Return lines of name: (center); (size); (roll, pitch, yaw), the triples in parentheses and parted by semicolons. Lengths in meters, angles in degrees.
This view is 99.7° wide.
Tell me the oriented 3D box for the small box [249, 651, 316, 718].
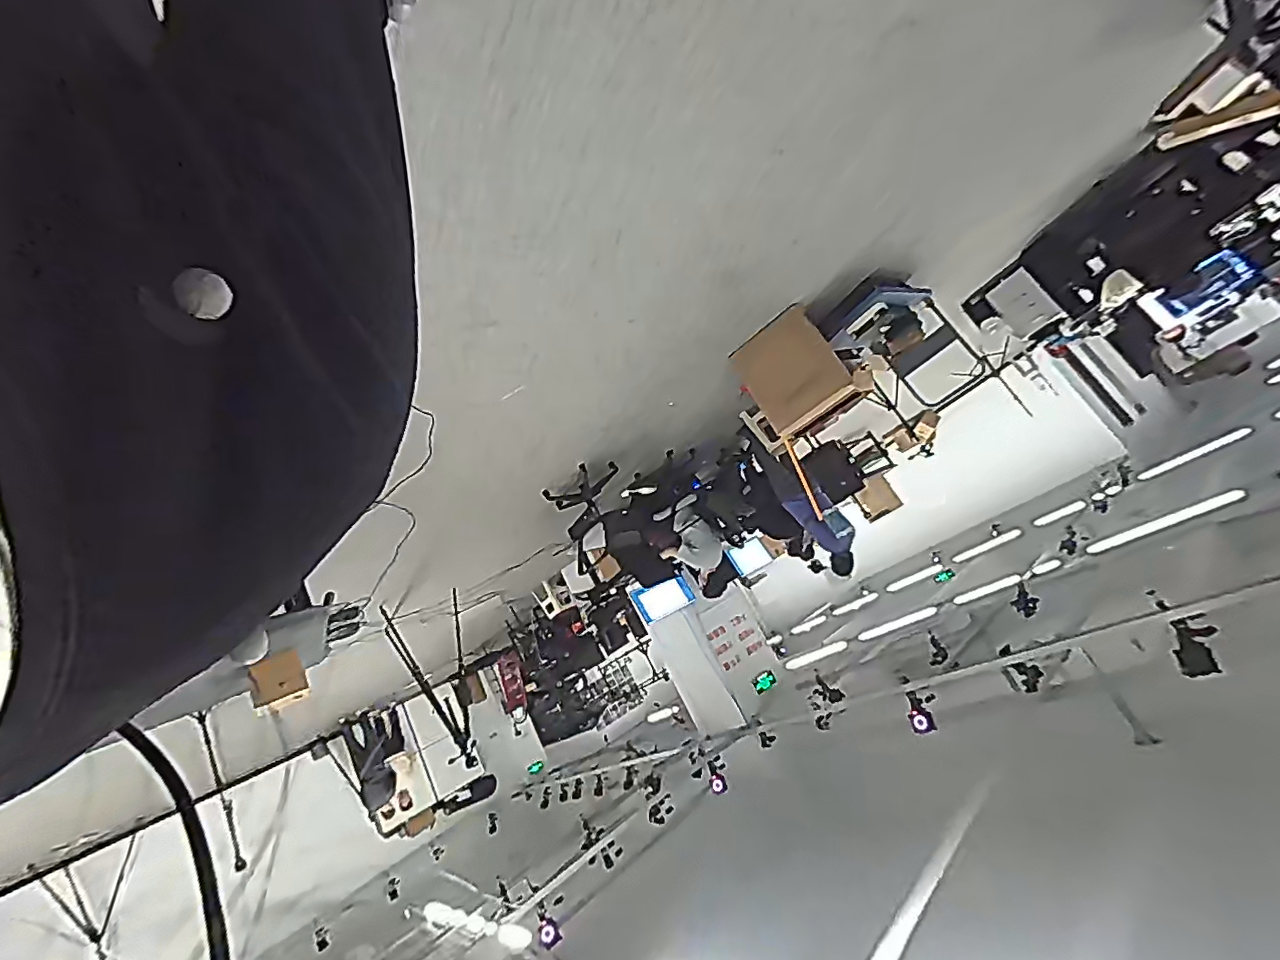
small box: (-1.358, 0.774, 2.058); (0.179, 0.176, 0.168); (-17, 159, -36)
